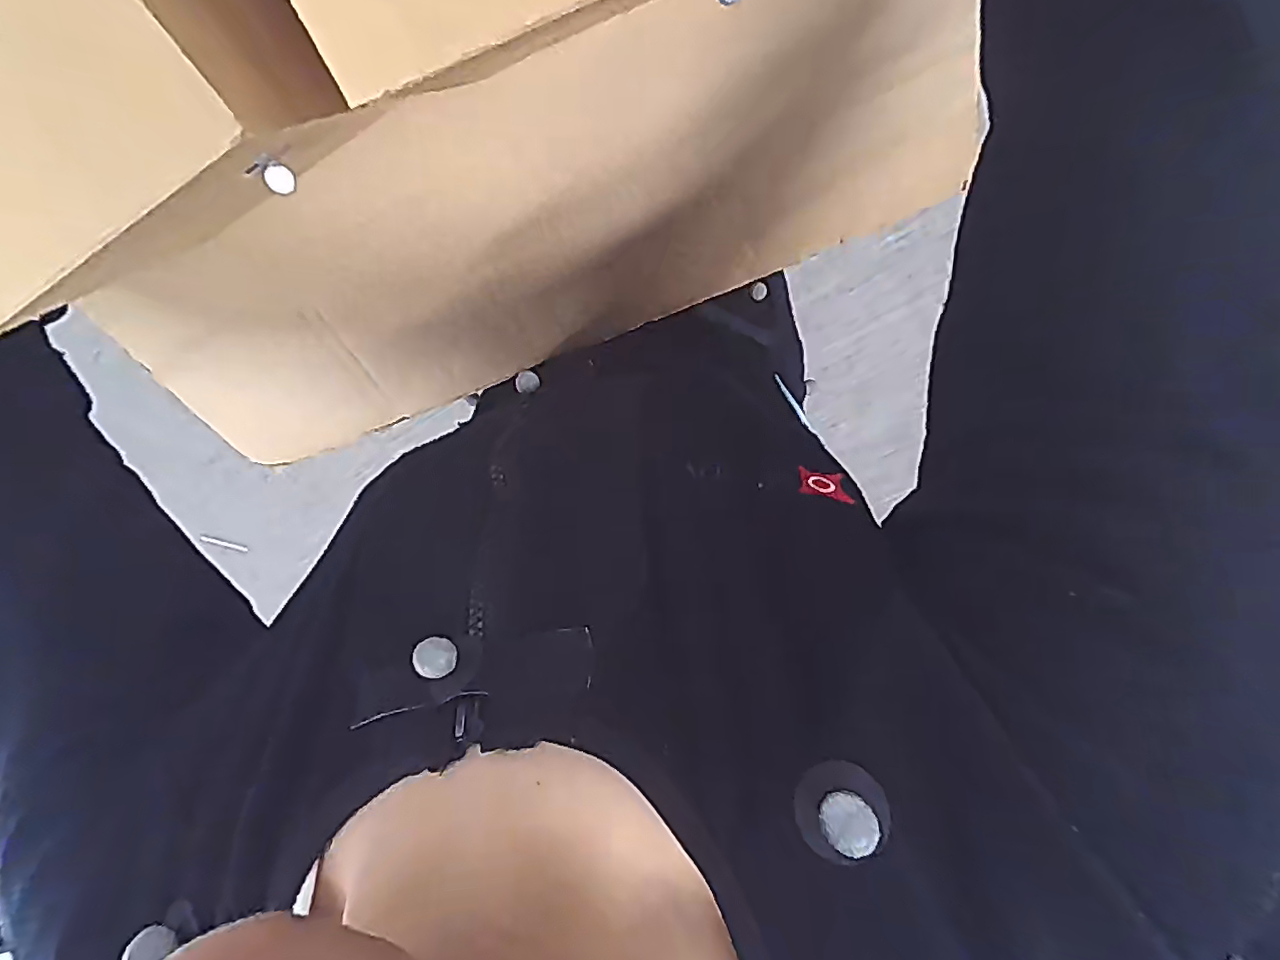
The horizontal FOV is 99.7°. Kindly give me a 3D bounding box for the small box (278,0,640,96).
[{"bbox_3d":[-0.048,-0.260,0.183,0.179,0.176,0.168,-15,128,11],"label":"small box"}]
